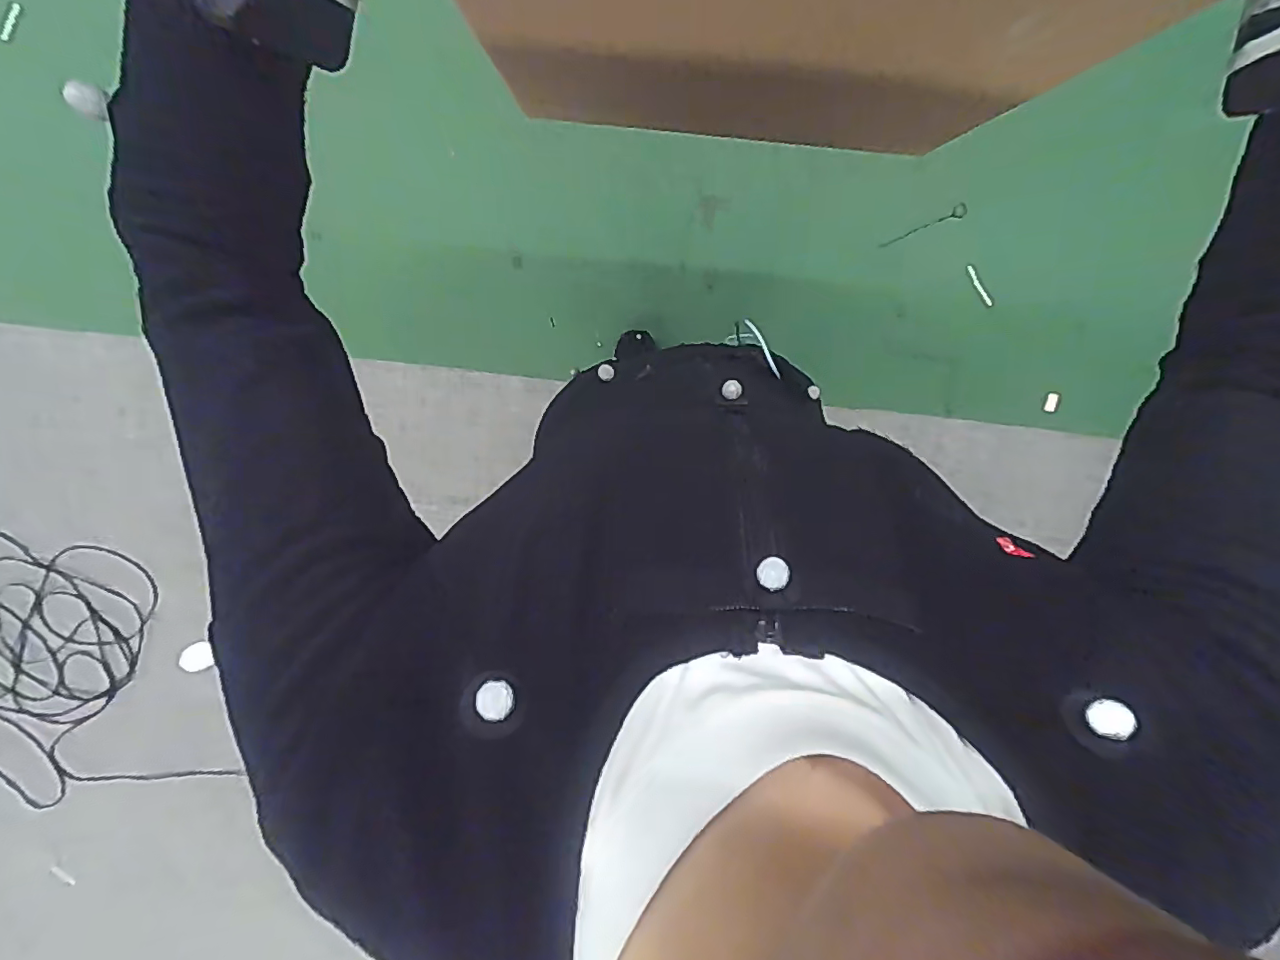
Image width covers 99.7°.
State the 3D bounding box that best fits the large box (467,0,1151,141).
[{"bbox_3d":[0.094,-0.447,0.352,0.408,0.320,0.320,4,109,-1],"label":"large box"}]
